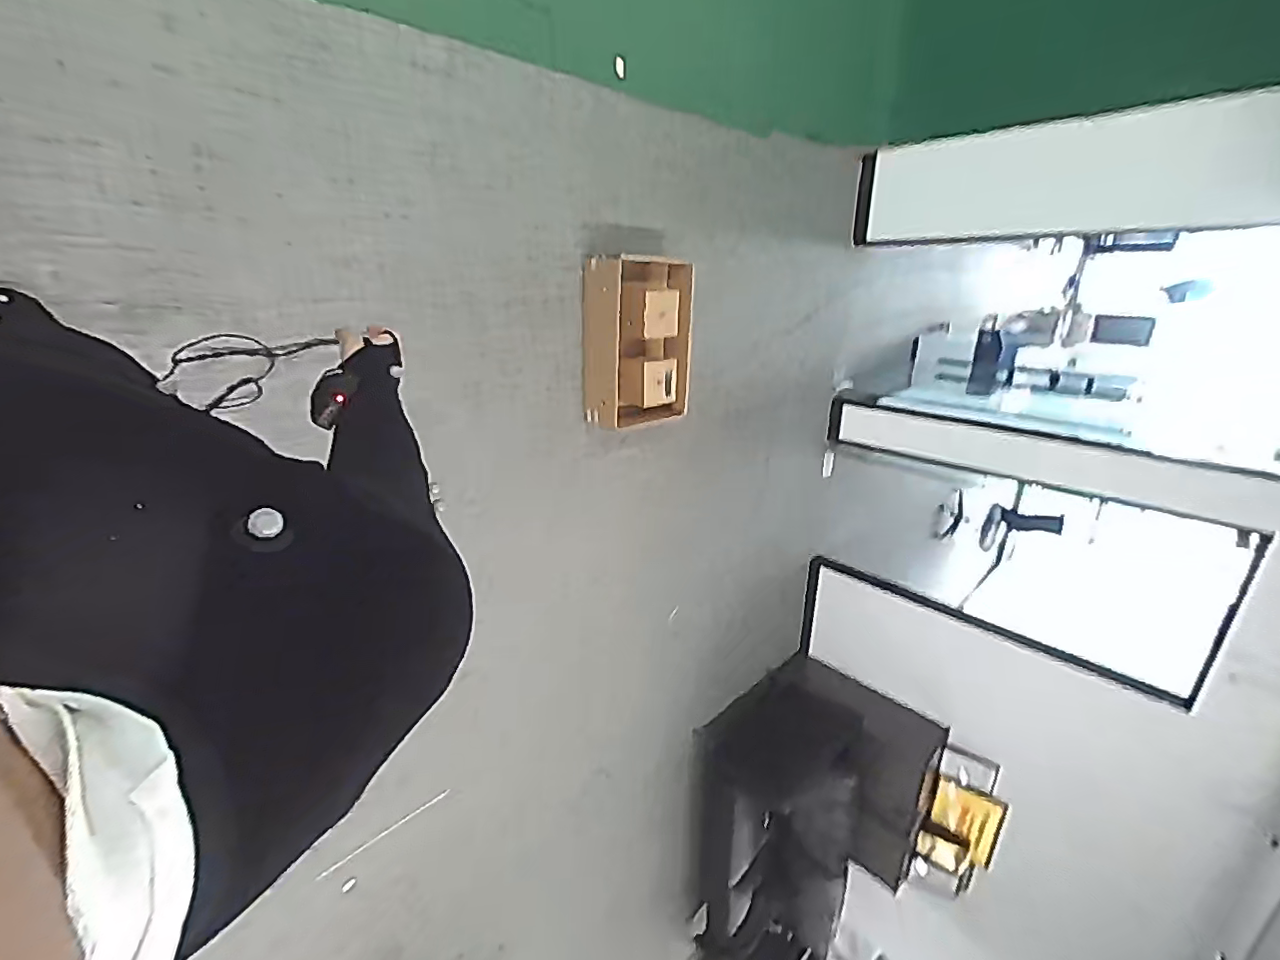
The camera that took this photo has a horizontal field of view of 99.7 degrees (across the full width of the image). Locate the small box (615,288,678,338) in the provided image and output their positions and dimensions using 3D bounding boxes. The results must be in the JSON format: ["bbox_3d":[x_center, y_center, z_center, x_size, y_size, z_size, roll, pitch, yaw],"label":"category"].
[{"bbox_3d":[0.020,-0.629,2.027,0.179,0.176,0.168,-19,120,-41],"label":"small box"}]
